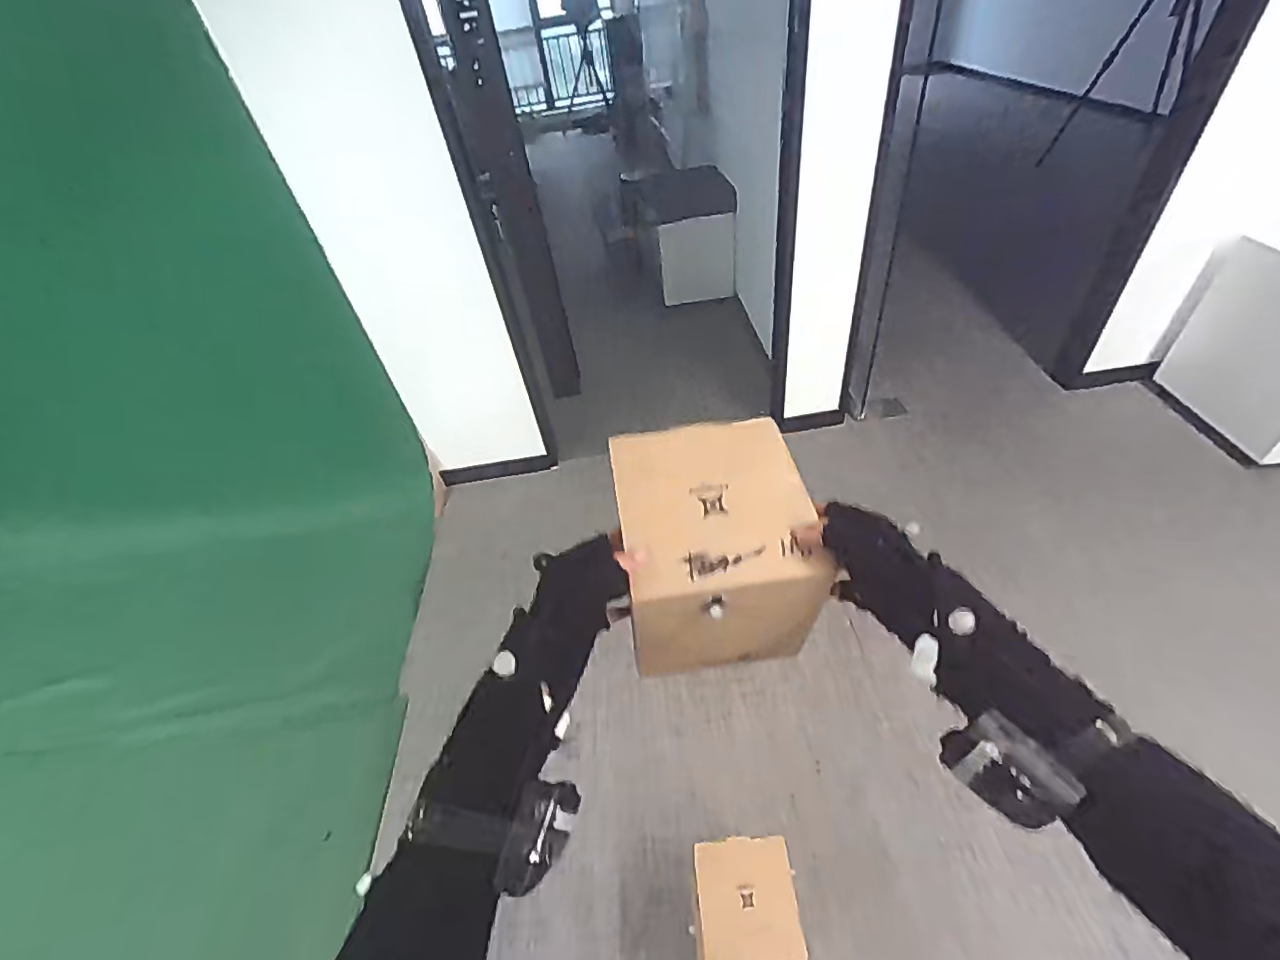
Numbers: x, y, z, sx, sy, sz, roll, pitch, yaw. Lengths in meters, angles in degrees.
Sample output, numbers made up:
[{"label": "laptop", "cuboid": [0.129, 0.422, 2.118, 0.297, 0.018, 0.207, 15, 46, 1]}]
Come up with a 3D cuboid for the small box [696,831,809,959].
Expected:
[{"label": "small box", "cuboid": [0.196, 0.764, 0.977, 0.168, 0.176, 0.179, -9, 44, 4]}]

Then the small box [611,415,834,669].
[{"label": "small box", "cuboid": [0.064, 0.061, 0.534, 0.168, 0.176, 0.179, -8, 49, -4]}]
